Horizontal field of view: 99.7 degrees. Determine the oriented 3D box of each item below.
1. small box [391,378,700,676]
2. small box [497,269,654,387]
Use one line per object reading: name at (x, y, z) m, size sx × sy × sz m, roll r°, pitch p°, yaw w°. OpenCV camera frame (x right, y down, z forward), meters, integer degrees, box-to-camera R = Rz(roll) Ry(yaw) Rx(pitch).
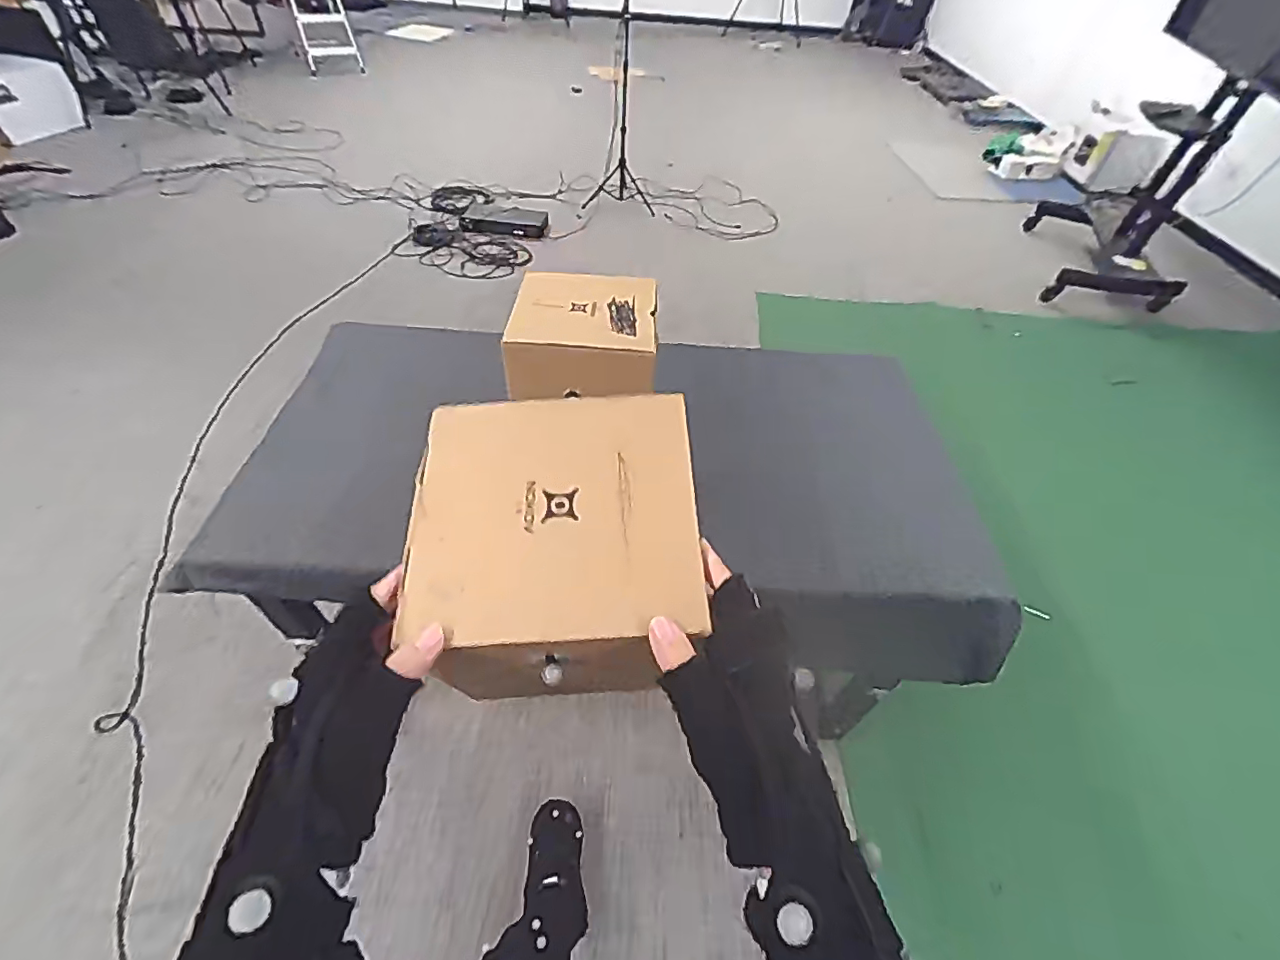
small box at (-0.053, 0.045, 0.406) m, size 0.179 × 0.176 × 0.168 m, roll -4°, pitch 61°, yaw -1°
small box at (-0.074, -0.156, 0.716) m, size 0.179 × 0.176 × 0.168 m, roll 2°, pitch 48°, yaw 0°
